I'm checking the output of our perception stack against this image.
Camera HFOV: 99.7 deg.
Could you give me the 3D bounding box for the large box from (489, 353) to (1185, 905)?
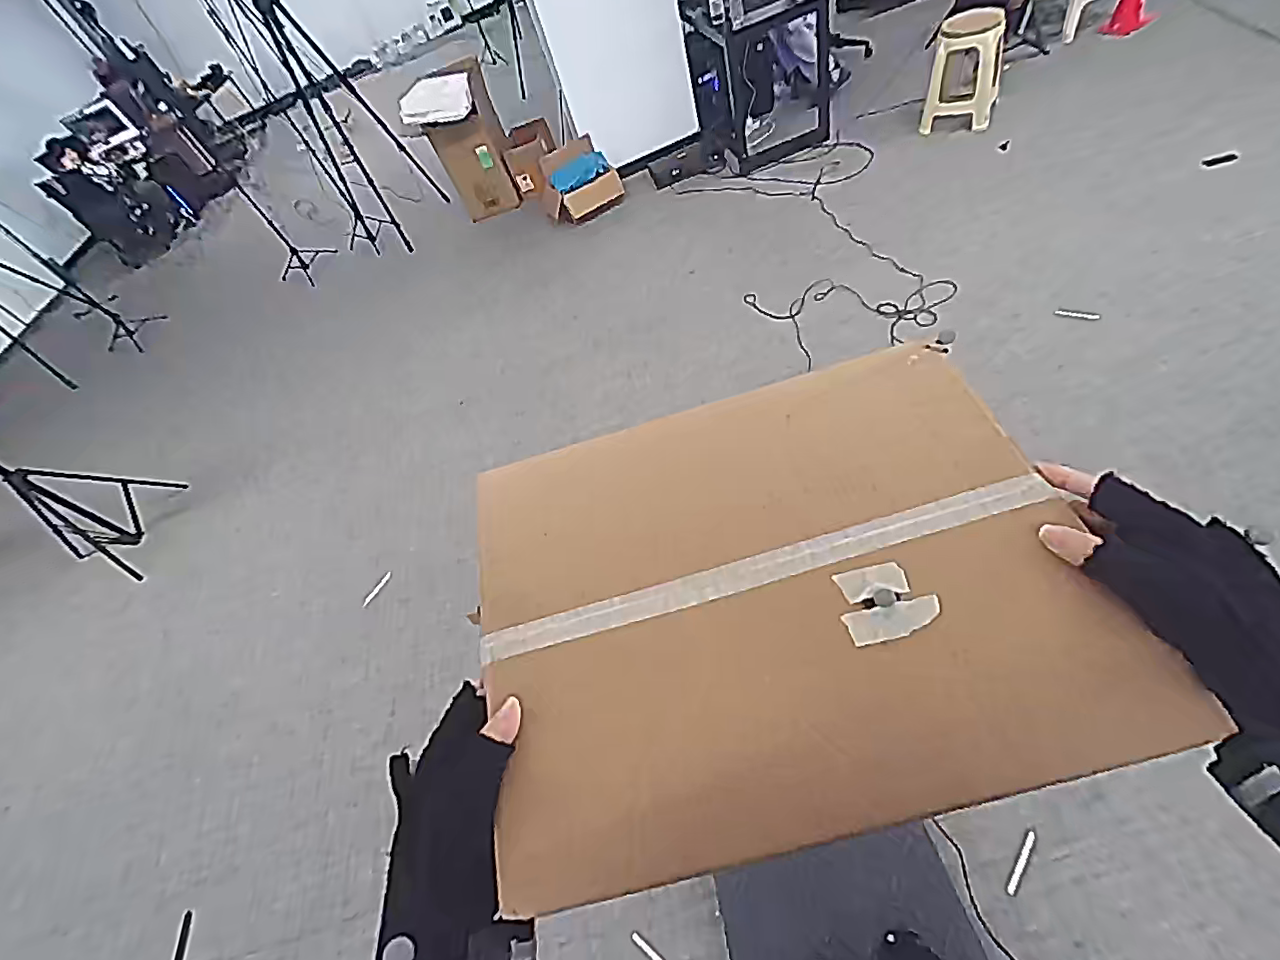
[{"bbox_3d":[0.115,0.147,0.515,0.408,0.320,0.320,-17,57,3],"label":"large box"}]
